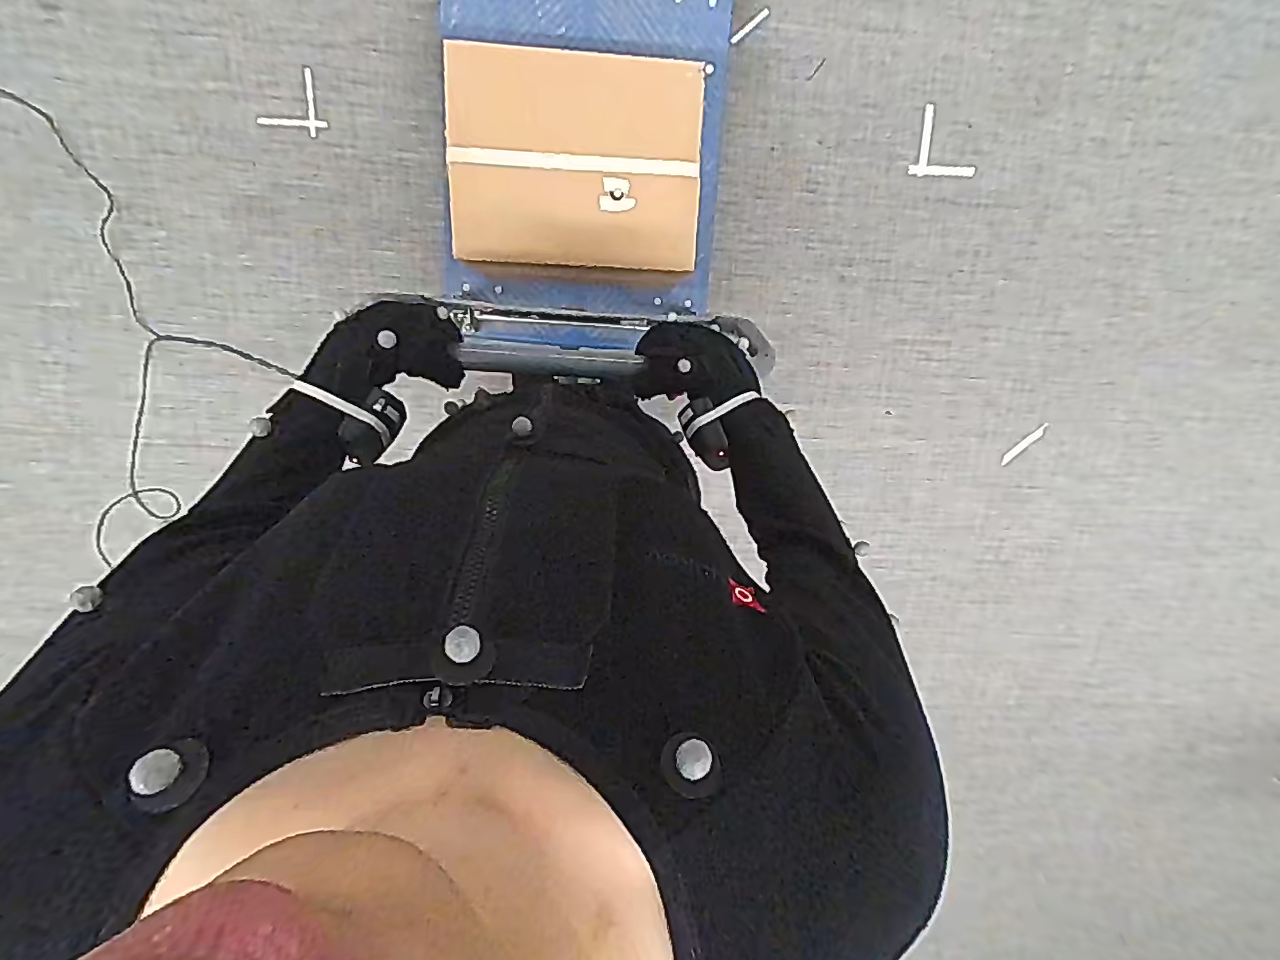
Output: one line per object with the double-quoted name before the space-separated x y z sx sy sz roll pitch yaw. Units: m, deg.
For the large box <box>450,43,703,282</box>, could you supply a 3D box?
"large box" -0.115 -0.560 1.030 0.408 0.320 0.320 0 105 -6
